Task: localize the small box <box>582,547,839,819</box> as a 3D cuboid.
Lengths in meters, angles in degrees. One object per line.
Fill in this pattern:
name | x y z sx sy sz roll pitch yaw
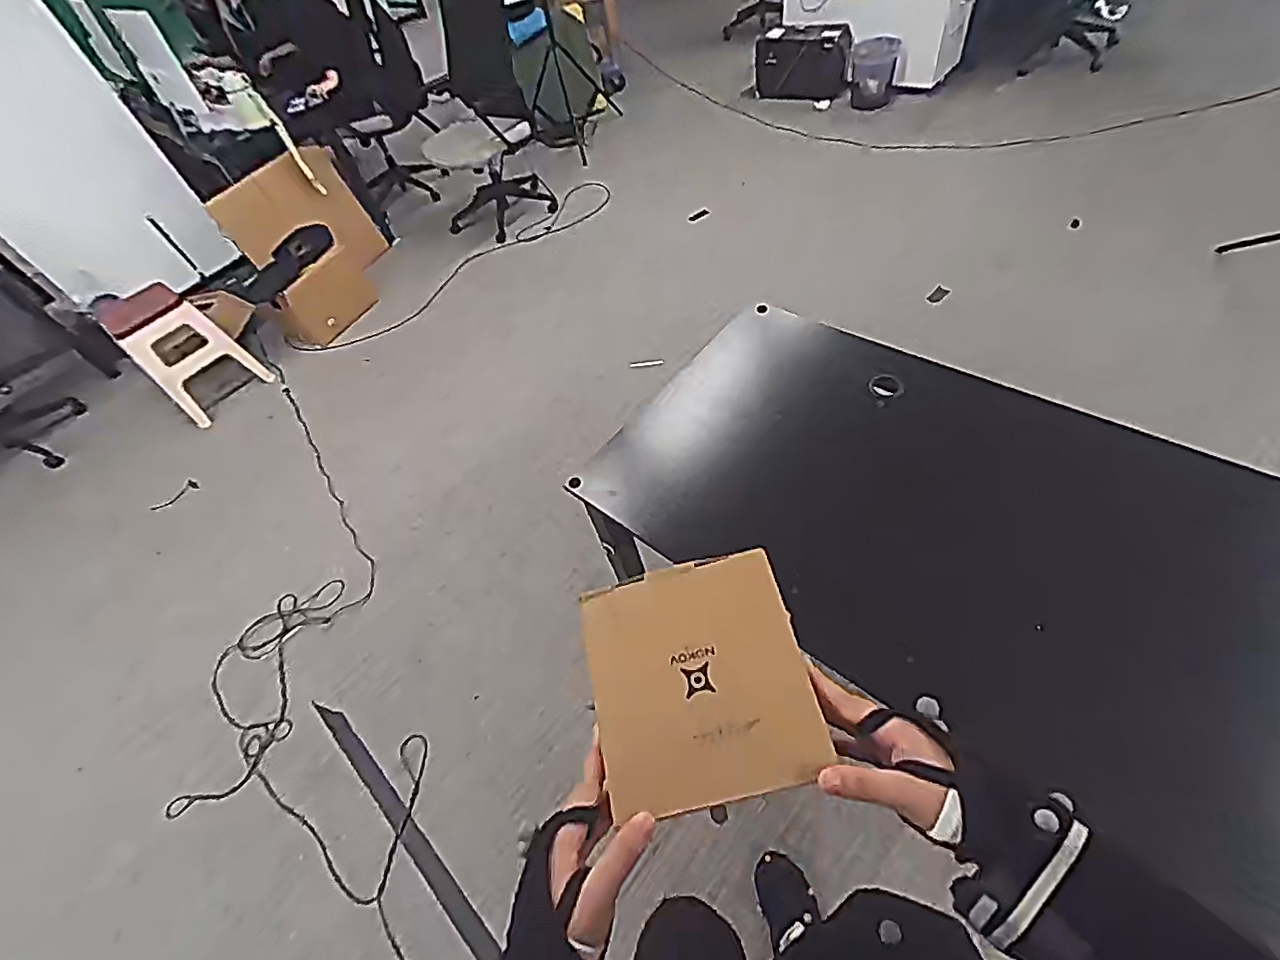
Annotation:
small box | 0.055 0.185 0.488 0.168 0.176 0.179 -14 61 2
